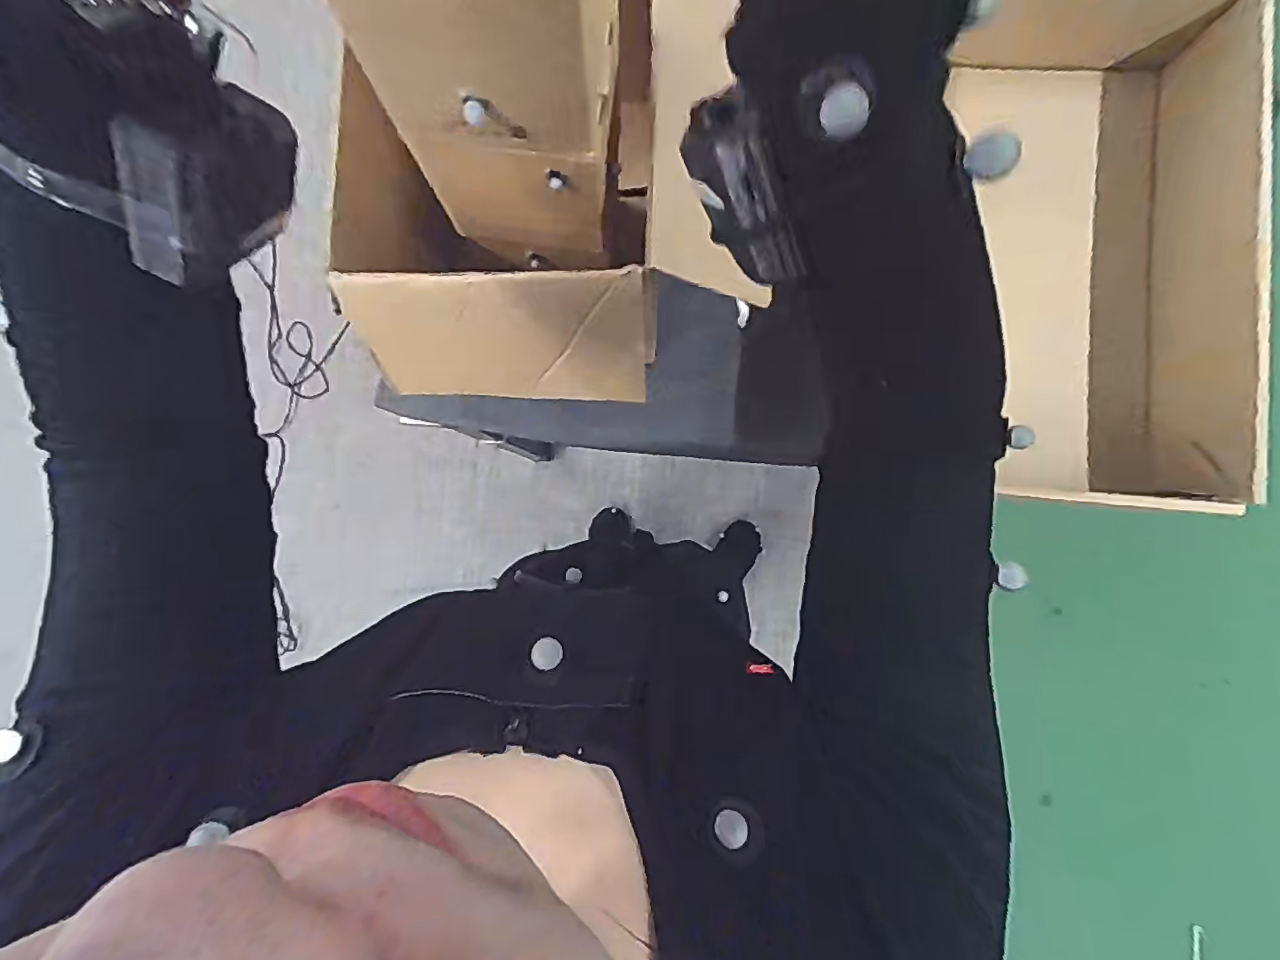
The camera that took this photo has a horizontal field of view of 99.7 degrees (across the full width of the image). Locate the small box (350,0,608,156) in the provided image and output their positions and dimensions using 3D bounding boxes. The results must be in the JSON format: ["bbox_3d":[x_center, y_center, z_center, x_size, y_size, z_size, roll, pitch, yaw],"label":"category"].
[{"bbox_3d":[-0.110,-0.380,0.396,0.168,0.176,0.179,3,86,-2],"label":"small box"}]
